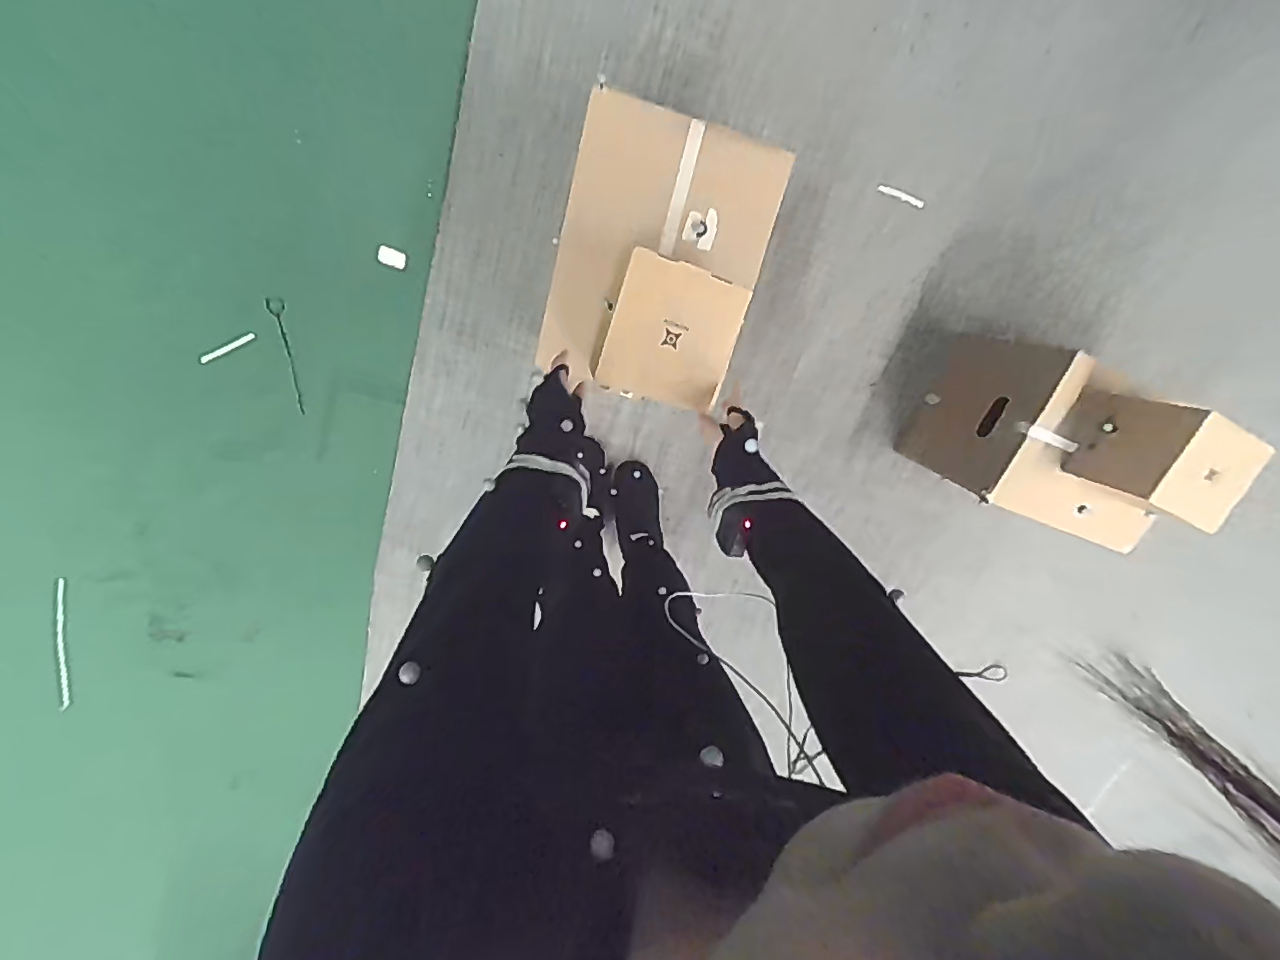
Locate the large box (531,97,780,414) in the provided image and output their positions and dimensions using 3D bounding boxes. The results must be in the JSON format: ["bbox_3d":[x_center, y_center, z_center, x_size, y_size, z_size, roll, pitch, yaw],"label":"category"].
[{"bbox_3d":[0.001,-0.371,0.981,0.320,0.320,0.408,13,107,-12],"label":"large box"}]

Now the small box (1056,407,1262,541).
[{"bbox_3d":[0.919,-0.019,0.974,0.179,0.176,0.168,22,103,-15],"label":"small box"}]

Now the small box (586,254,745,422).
[{"bbox_3d":[0.024,-0.206,0.780,0.168,0.176,0.179,16,106,-15],"label":"small box"}]
